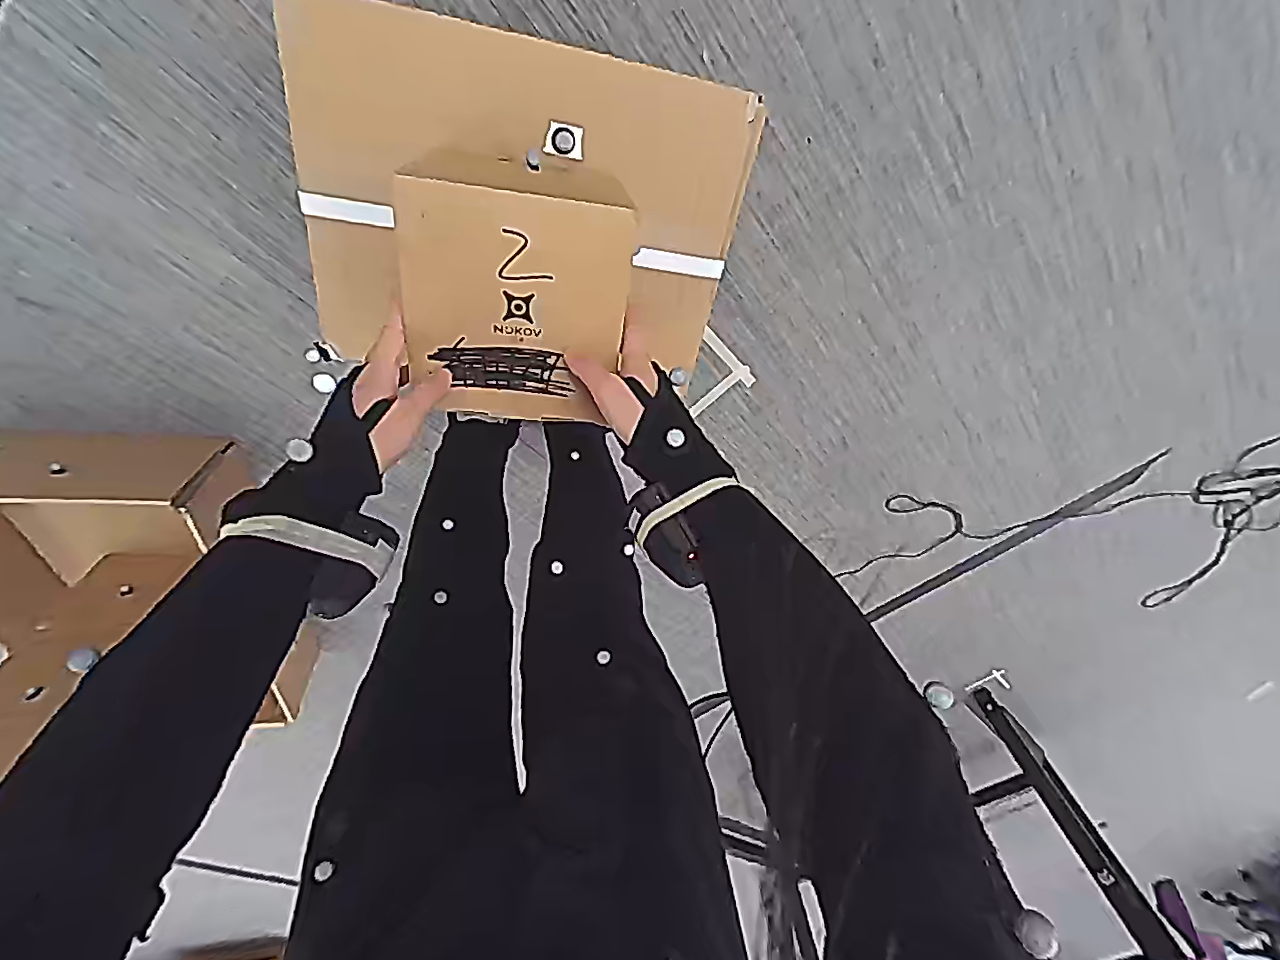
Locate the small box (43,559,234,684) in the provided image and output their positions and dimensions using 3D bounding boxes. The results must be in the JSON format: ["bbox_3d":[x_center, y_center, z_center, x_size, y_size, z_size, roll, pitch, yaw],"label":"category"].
[{"bbox_3d":[-0.911,0.261,1.005,0.179,0.176,0.168,0,126,-9],"label":"small box"}]
